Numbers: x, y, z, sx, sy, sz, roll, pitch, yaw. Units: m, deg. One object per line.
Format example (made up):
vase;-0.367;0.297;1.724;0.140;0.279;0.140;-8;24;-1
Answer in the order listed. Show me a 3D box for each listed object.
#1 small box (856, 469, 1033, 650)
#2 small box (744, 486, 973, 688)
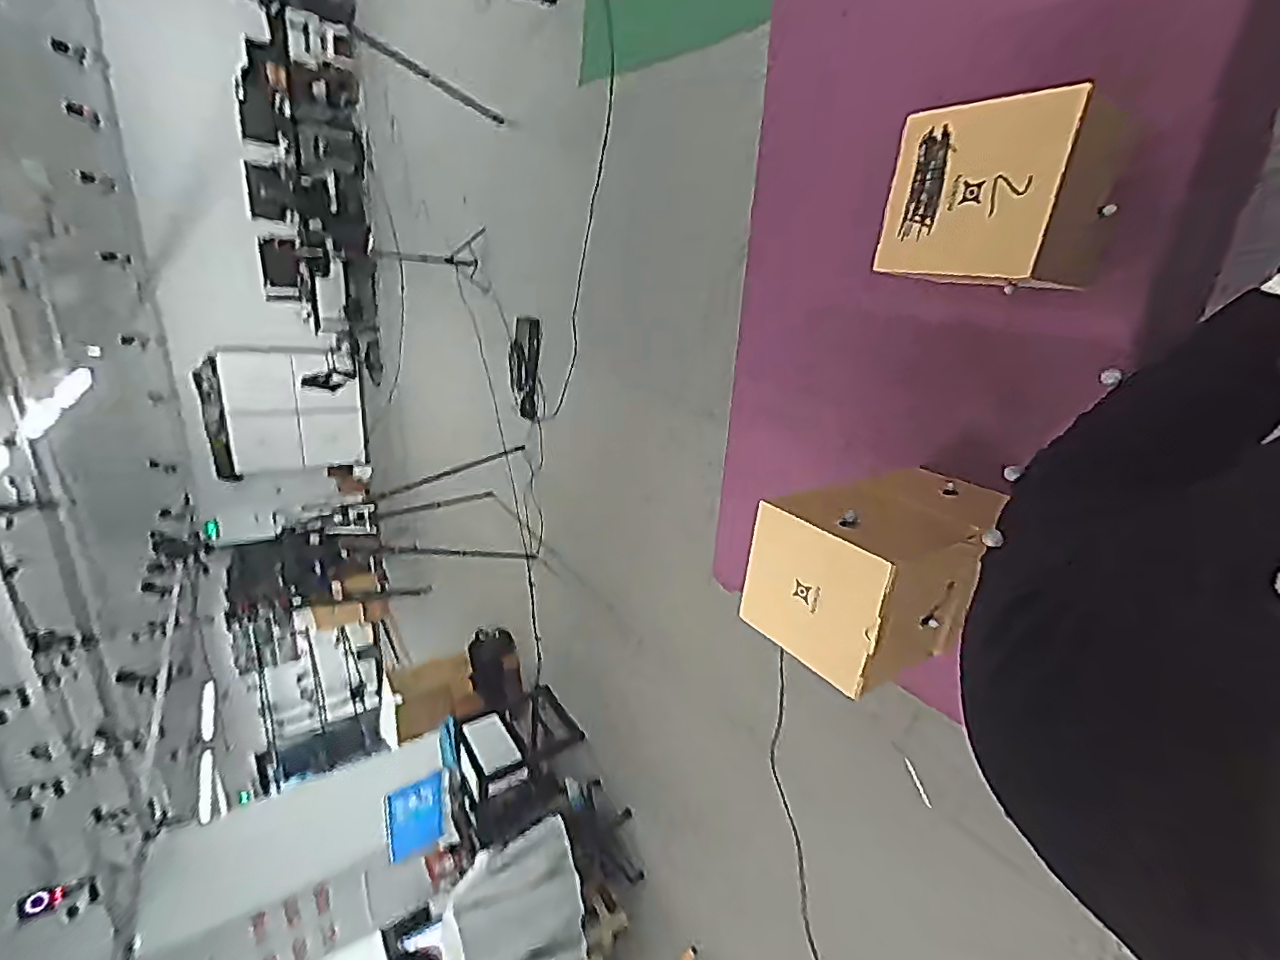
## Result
small box;0.398;0.093;0.739;0.168;0.176;0.179;30;121;50
small box;0.258;0.112;0.657;0.179;0.176;0.168;30;121;49
